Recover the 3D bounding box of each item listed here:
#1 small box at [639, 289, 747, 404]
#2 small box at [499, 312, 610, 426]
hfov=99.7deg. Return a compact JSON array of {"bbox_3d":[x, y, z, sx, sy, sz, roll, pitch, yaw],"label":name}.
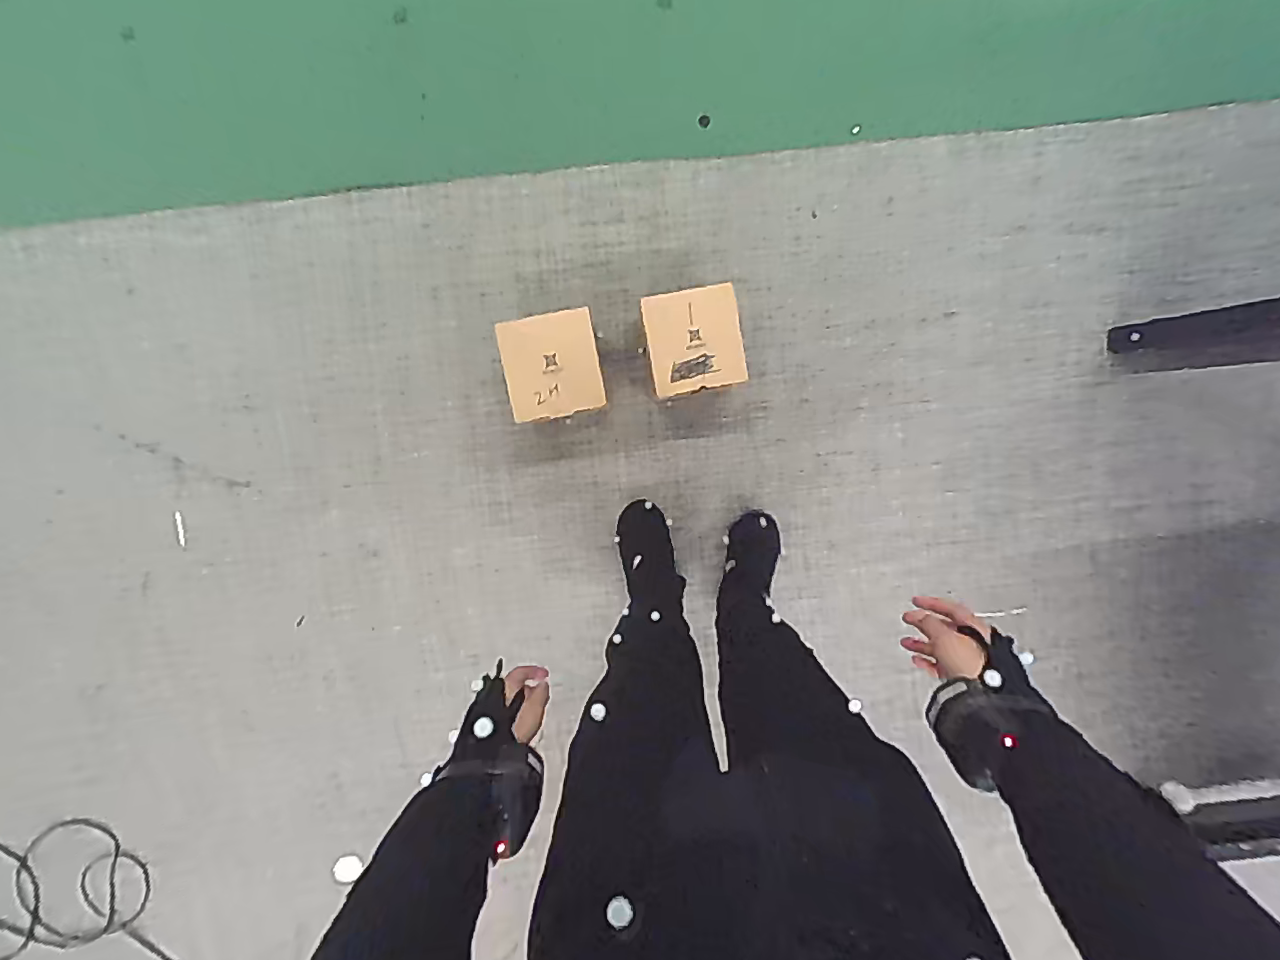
[{"bbox_3d":[0.093,-0.241,1.022,0.168,0.176,0.179,-10,95,-2],"label":"small box"},{"bbox_3d":[-0.152,-0.199,1.018,0.168,0.176,0.179,-11,96,0],"label":"small box"}]
